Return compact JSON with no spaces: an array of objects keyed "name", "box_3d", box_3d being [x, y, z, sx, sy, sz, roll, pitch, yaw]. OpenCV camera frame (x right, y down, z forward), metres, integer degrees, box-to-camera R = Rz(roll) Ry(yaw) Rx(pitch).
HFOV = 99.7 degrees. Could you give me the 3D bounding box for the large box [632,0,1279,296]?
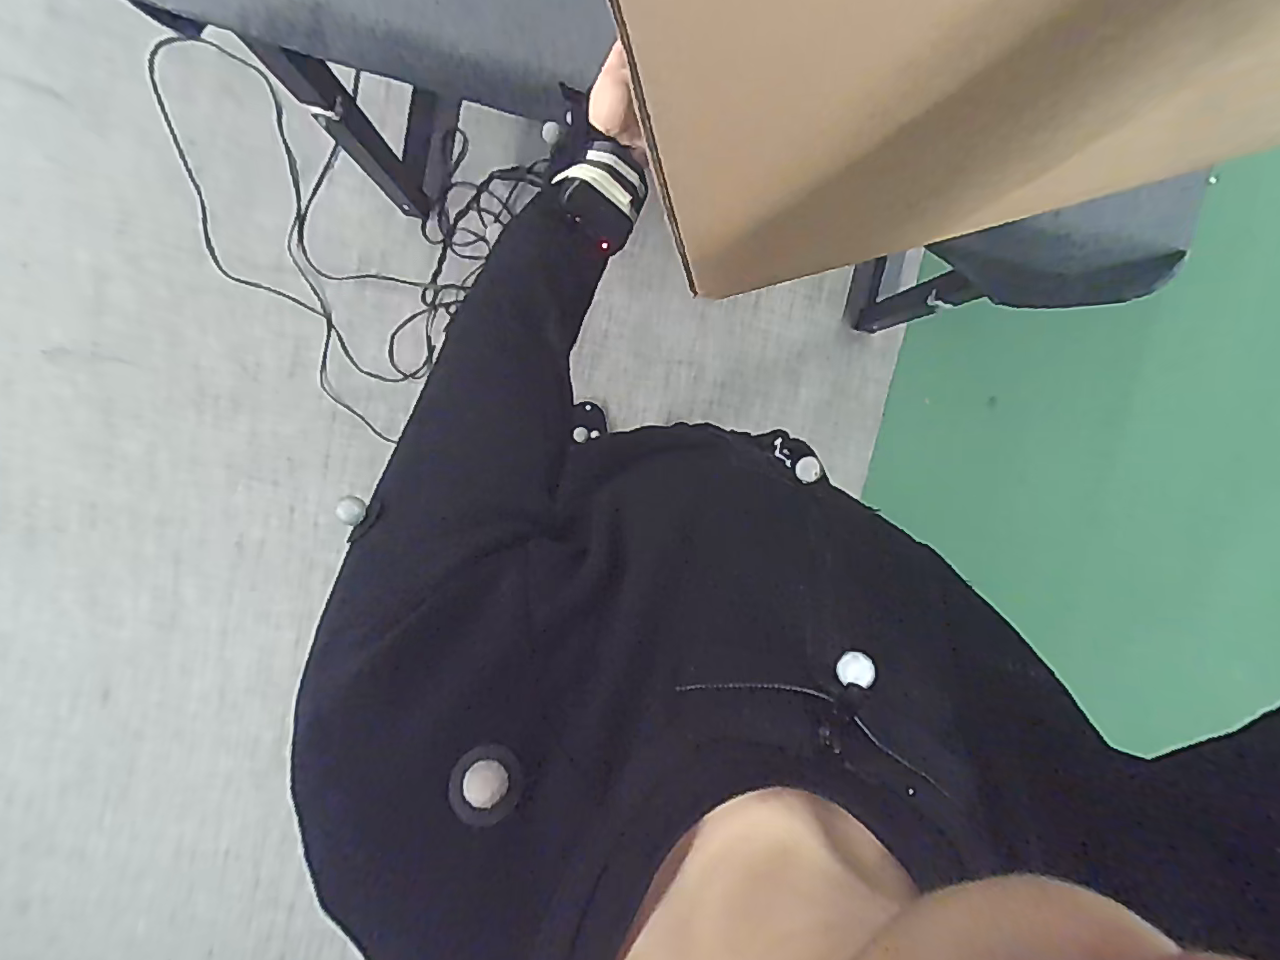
[{"name":"large box","box_3d":[0.177,-0.349,0.242,0.408,0.320,0.320,-13,67,12]}]
